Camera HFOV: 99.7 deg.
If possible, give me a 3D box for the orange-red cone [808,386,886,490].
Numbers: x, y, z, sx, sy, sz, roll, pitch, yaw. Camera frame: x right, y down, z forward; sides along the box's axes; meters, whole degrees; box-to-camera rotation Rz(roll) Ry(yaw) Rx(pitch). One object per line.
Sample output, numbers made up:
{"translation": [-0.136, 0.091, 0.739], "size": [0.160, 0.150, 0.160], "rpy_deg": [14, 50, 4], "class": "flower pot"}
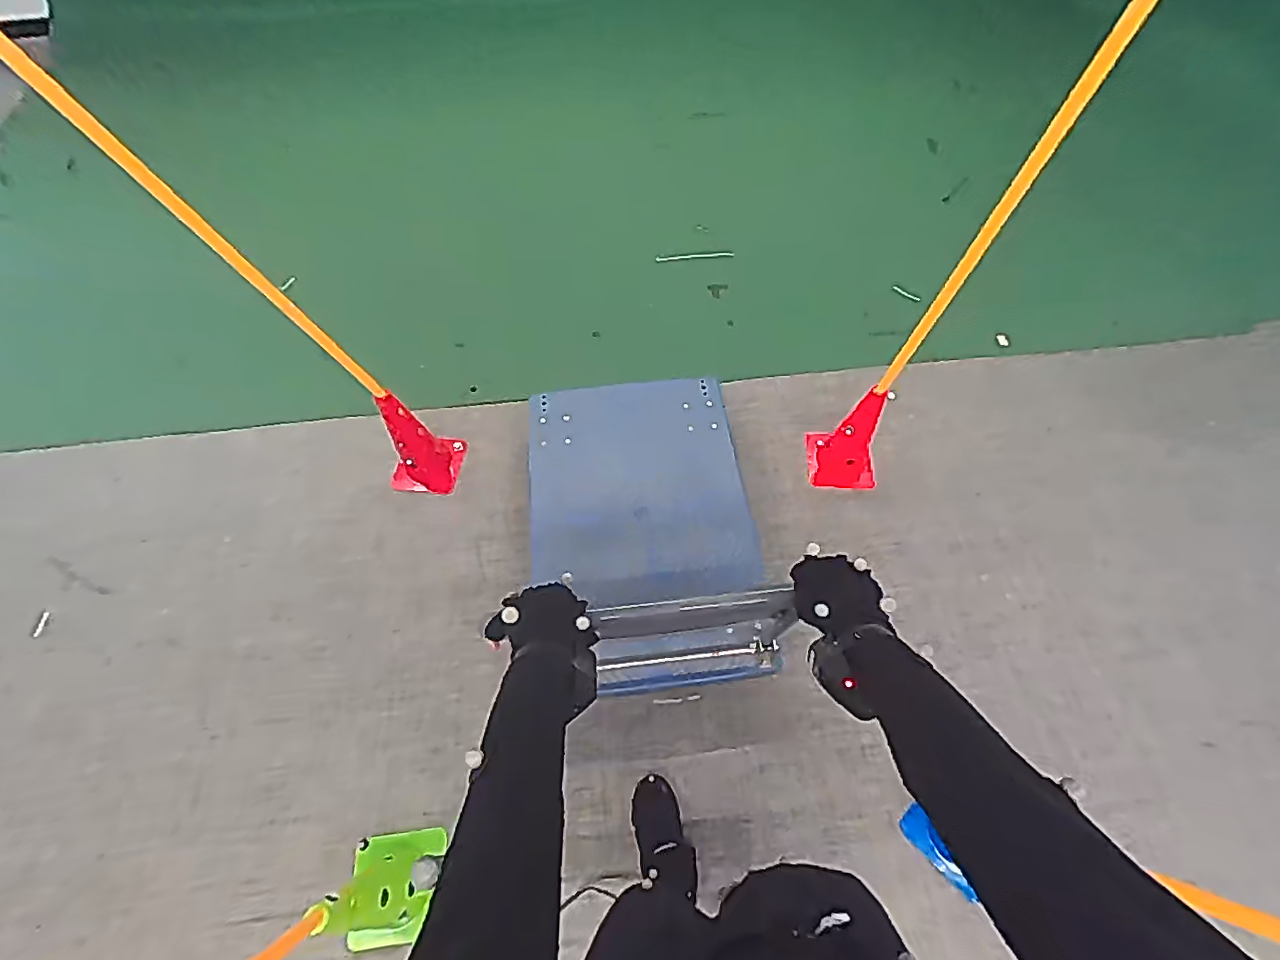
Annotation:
{"translation": [0.621, -0.141, 1.539], "size": [0.198, 0.360, 0.199], "rpy_deg": [4, 61, 4], "class": "orange-red cone"}
